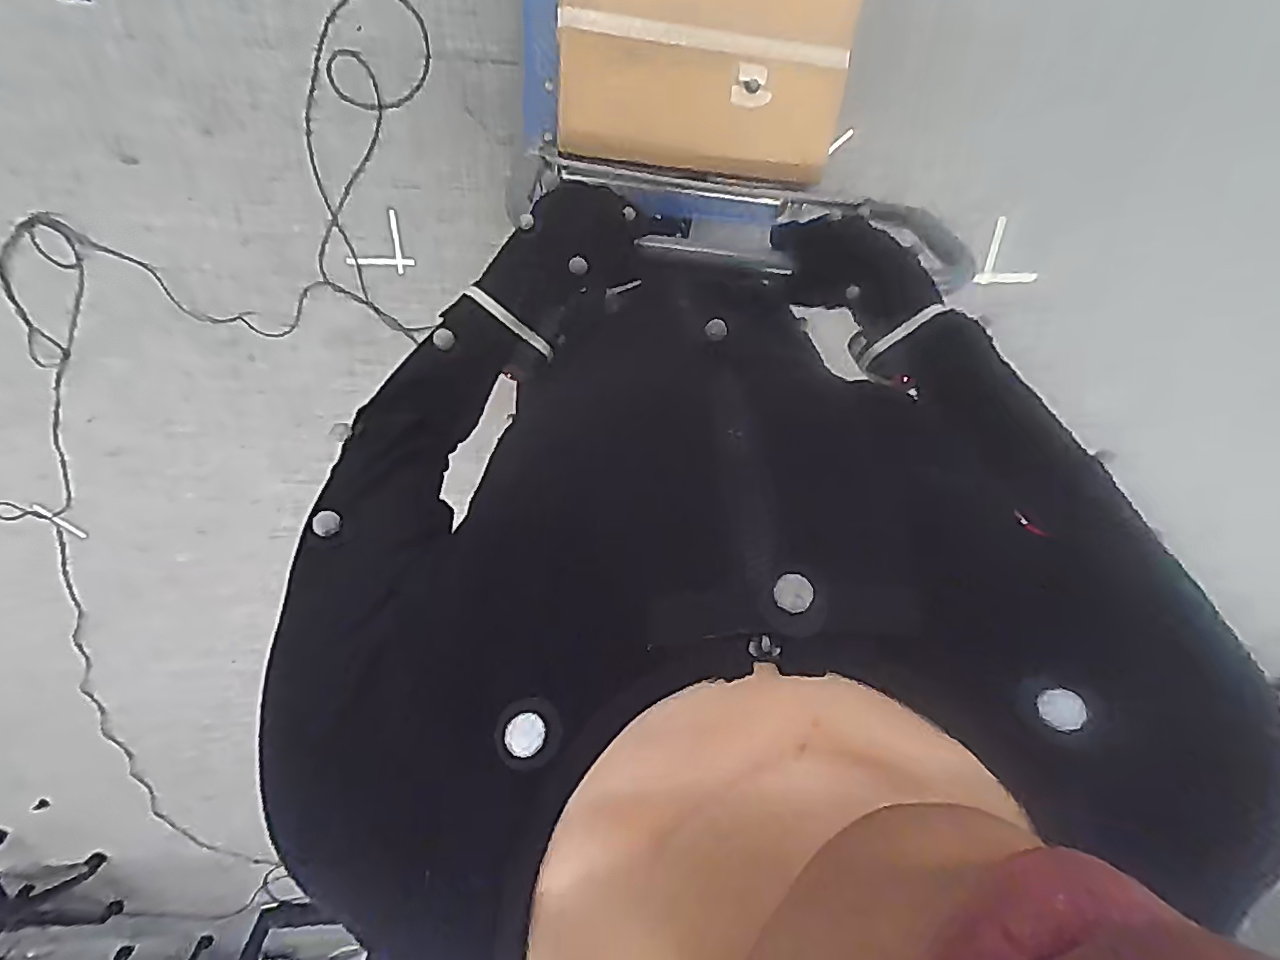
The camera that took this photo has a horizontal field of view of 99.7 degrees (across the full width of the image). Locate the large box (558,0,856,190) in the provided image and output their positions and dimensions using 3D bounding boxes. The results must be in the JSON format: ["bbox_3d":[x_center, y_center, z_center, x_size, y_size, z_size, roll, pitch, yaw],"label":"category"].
[{"bbox_3d":[0.072,-0.660,0.871,0.408,0.320,0.320,2,119,-8],"label":"large box"}]
